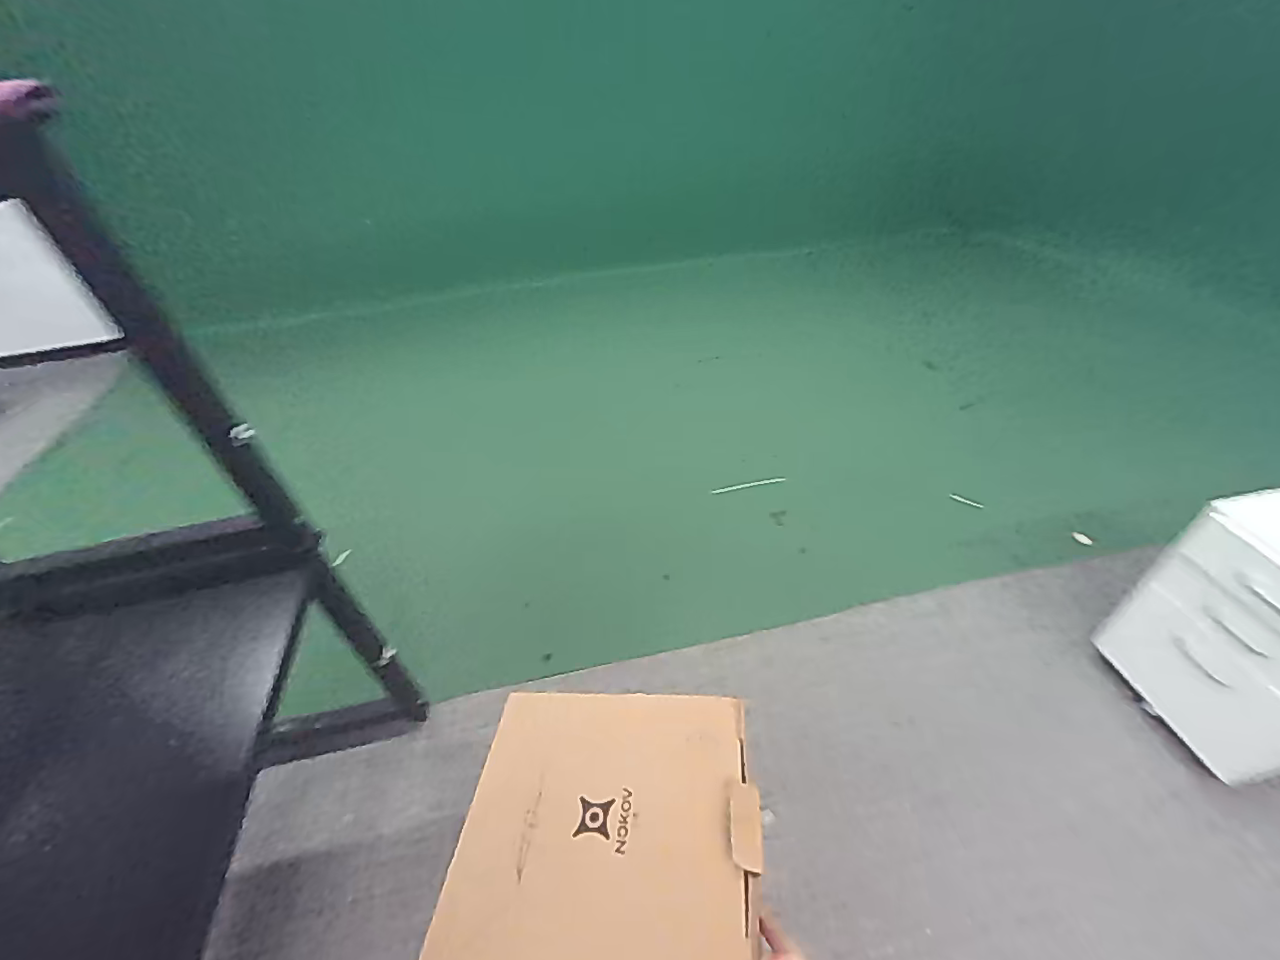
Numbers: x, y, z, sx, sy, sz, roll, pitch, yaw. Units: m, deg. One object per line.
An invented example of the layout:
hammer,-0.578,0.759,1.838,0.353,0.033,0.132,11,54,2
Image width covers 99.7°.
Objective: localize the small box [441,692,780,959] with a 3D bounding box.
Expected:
small box,0.002,0.268,0.370,0.179,0.176,0.168,-5,35,12
